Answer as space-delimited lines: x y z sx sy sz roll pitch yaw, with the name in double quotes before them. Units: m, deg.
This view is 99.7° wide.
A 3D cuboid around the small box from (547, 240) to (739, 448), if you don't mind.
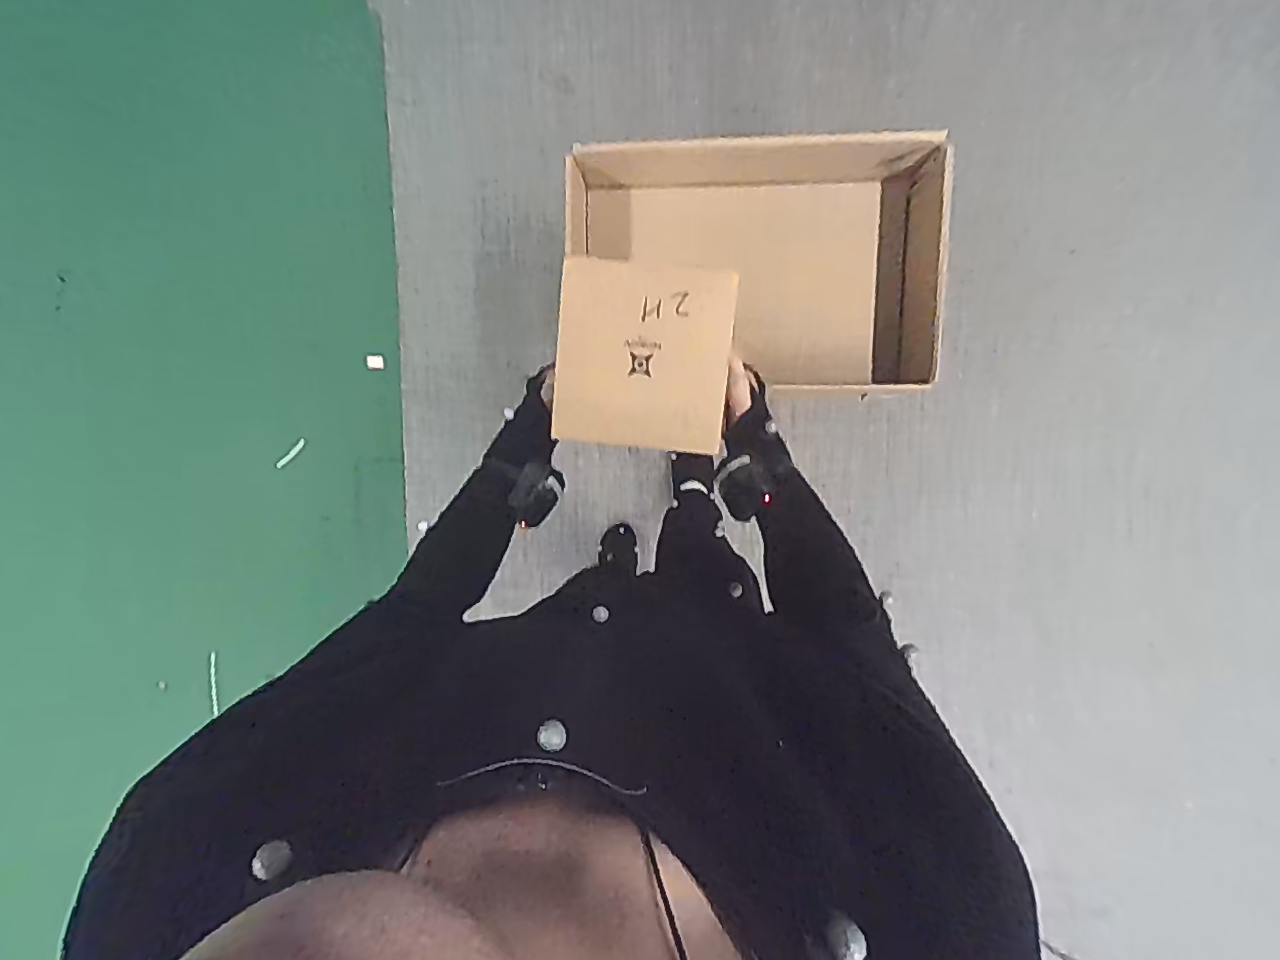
"small box" 0.006 -0.135 0.580 0.168 0.176 0.179 7 97 3
